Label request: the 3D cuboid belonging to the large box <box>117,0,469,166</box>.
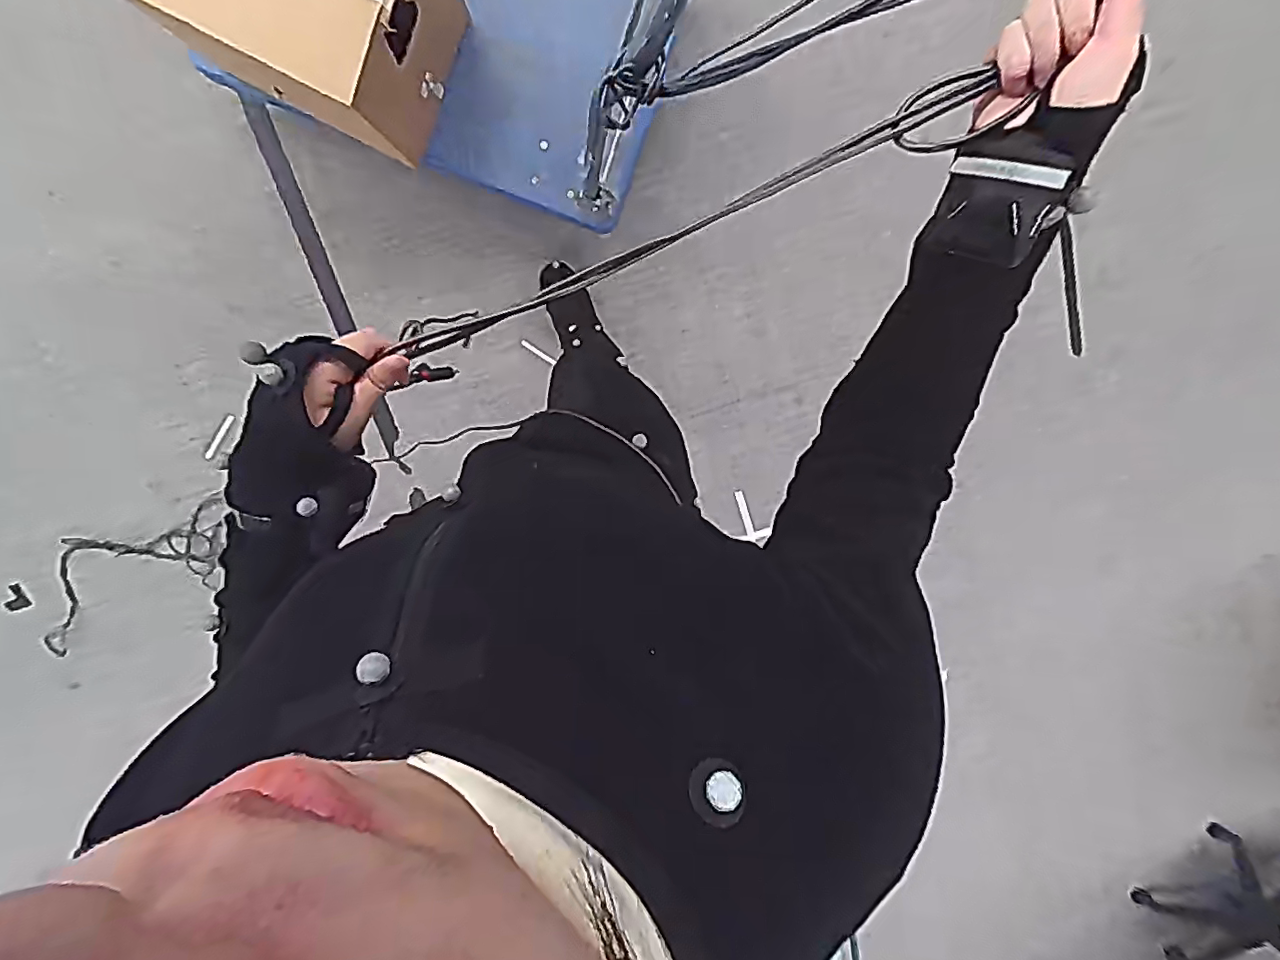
[{"bbox_3d":[-0.556,-0.806,0.899,0.408,0.320,0.320,24,101,-9],"label":"large box"}]
